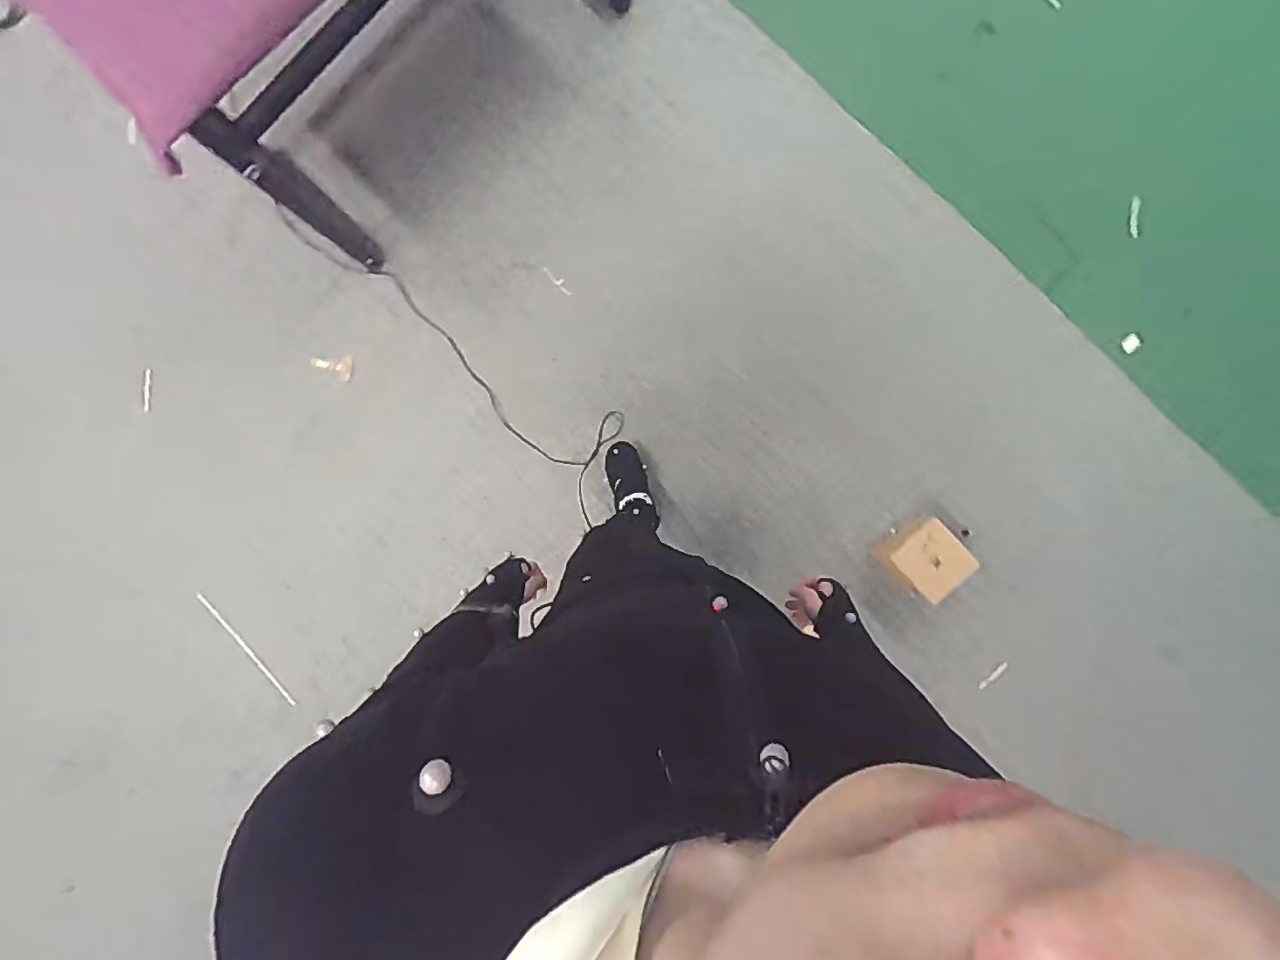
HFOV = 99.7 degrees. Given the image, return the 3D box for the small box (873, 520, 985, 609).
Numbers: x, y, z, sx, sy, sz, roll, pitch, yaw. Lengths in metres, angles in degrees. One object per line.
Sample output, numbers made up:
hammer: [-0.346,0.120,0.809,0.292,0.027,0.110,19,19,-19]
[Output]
small box: [0.782,0.222,1.482,0.168,0.176,0.179,-41,86,2]

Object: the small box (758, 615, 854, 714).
small box: [0.450,0.501,1.500,0.179,0.176,0.168,-41,86,3]
